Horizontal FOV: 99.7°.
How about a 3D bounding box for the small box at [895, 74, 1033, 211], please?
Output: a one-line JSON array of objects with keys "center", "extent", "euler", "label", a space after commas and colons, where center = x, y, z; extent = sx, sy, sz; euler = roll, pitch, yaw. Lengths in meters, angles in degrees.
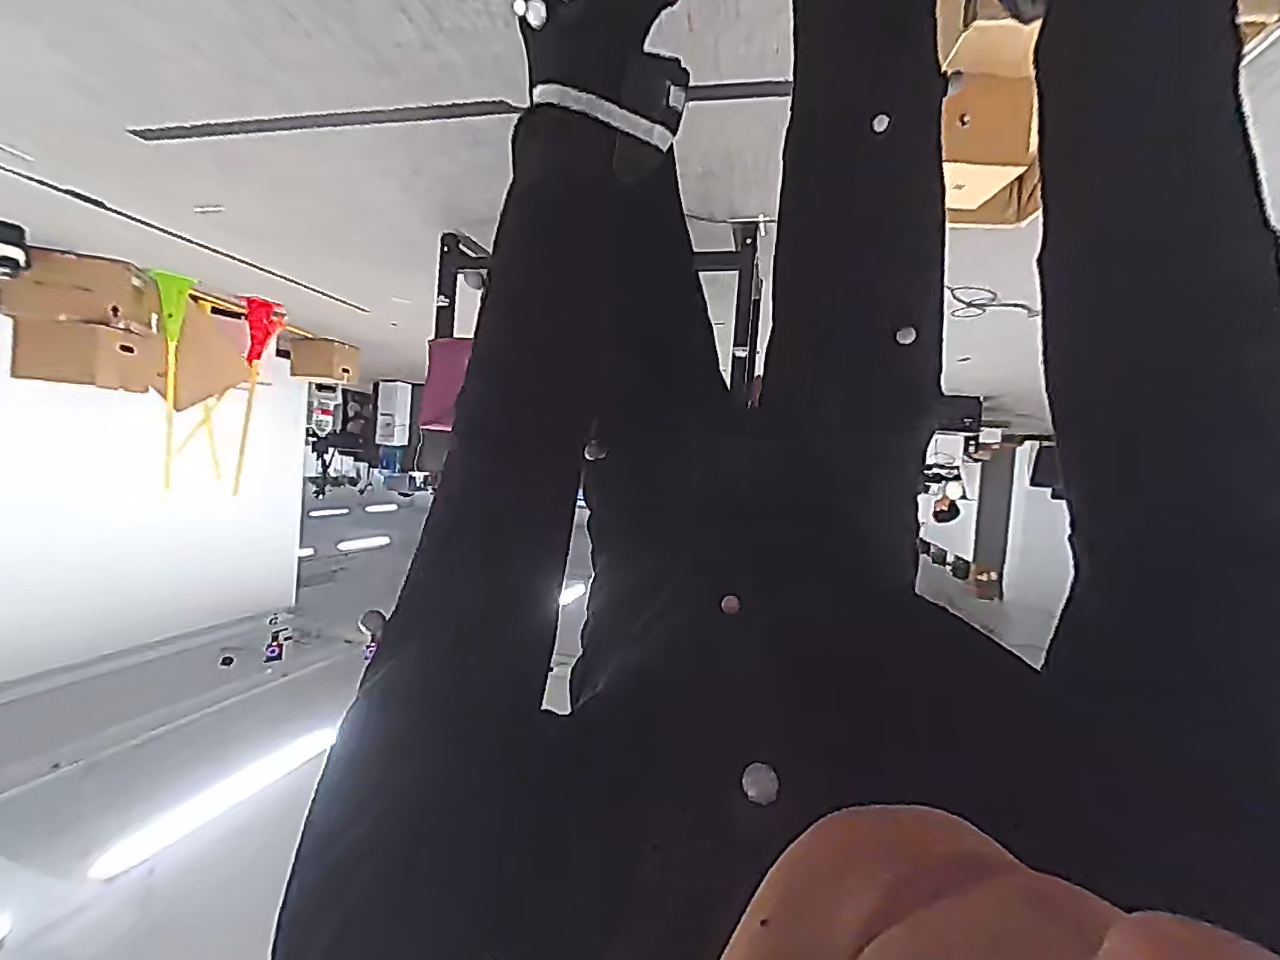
[{"center": [0.640, -0.668, 1.080], "extent": [0.179, 0.176, 0.168], "euler": [4, -179, -1], "label": "small box"}]
